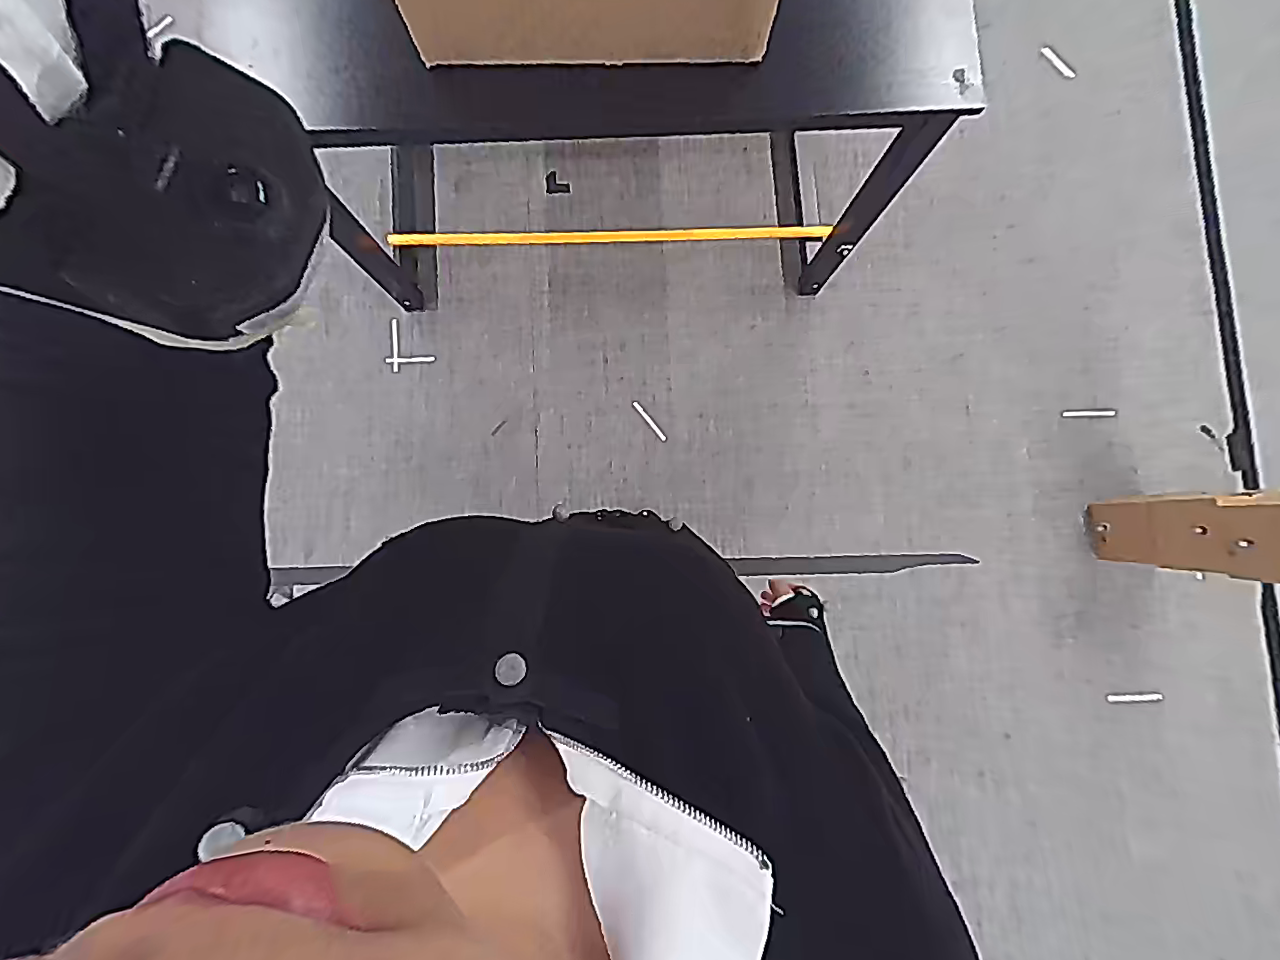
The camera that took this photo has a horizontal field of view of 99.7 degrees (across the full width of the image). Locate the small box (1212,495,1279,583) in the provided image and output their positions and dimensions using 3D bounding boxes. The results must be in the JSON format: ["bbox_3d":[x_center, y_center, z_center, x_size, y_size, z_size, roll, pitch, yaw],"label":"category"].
[{"bbox_3d":[1.375,0.119,1.124,0.179,0.176,0.168,-11,85,-2],"label":"small box"}]

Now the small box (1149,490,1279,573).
[{"bbox_3d":[1.375,0.124,1.289,0.168,0.176,0.179,-7,86,-1],"label":"small box"}]

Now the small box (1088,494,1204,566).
[{"bbox_3d":[1.370,0.132,1.453,0.179,0.176,0.168,-9,85,-1],"label":"small box"}]
